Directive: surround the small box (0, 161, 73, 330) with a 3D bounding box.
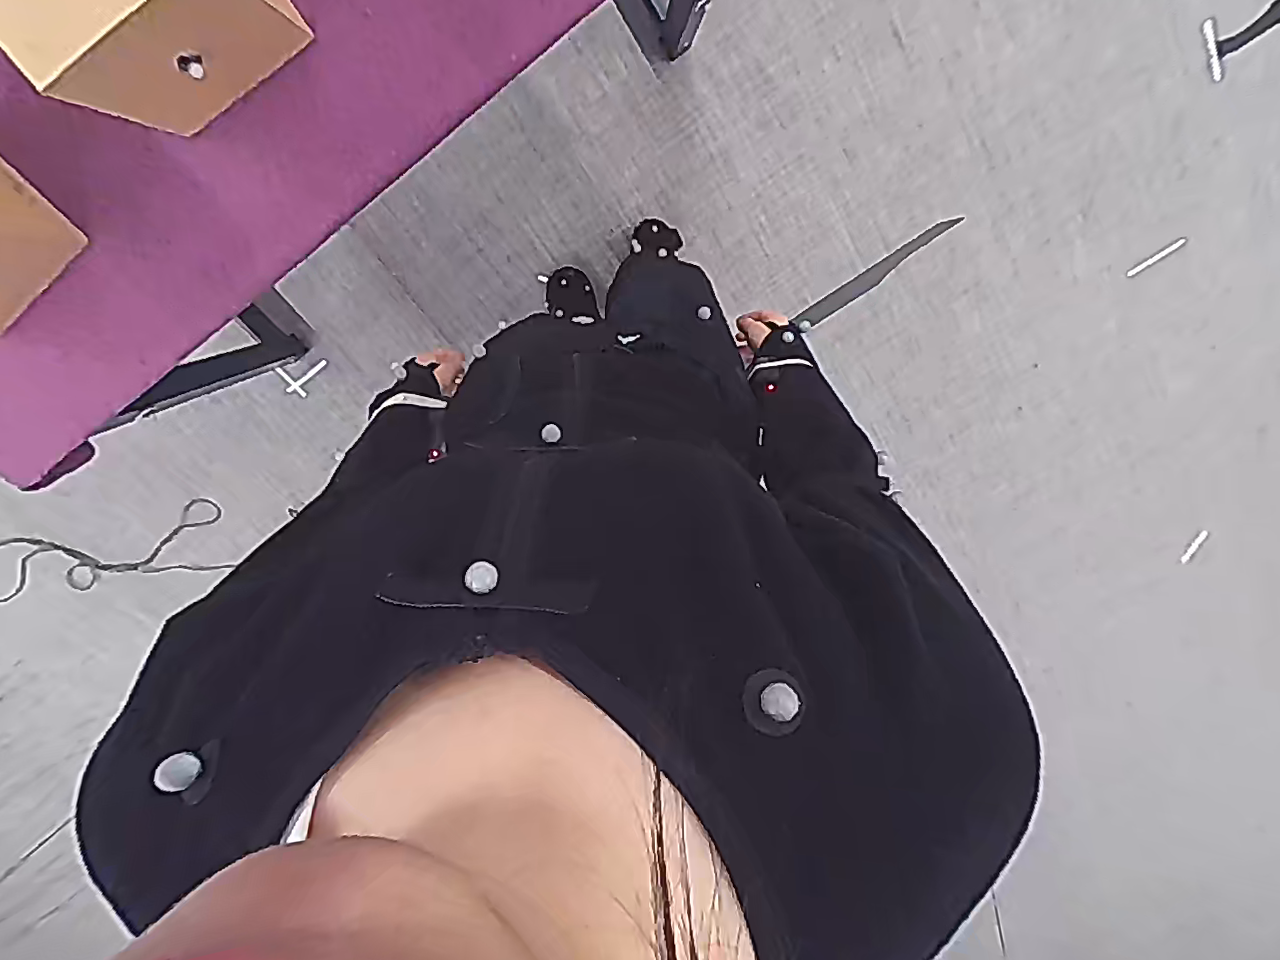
[{"bbox_3d":[-0.718,-0.247,0.511,0.179,0.176,0.168,-36,109,10],"label":"small box"}]
